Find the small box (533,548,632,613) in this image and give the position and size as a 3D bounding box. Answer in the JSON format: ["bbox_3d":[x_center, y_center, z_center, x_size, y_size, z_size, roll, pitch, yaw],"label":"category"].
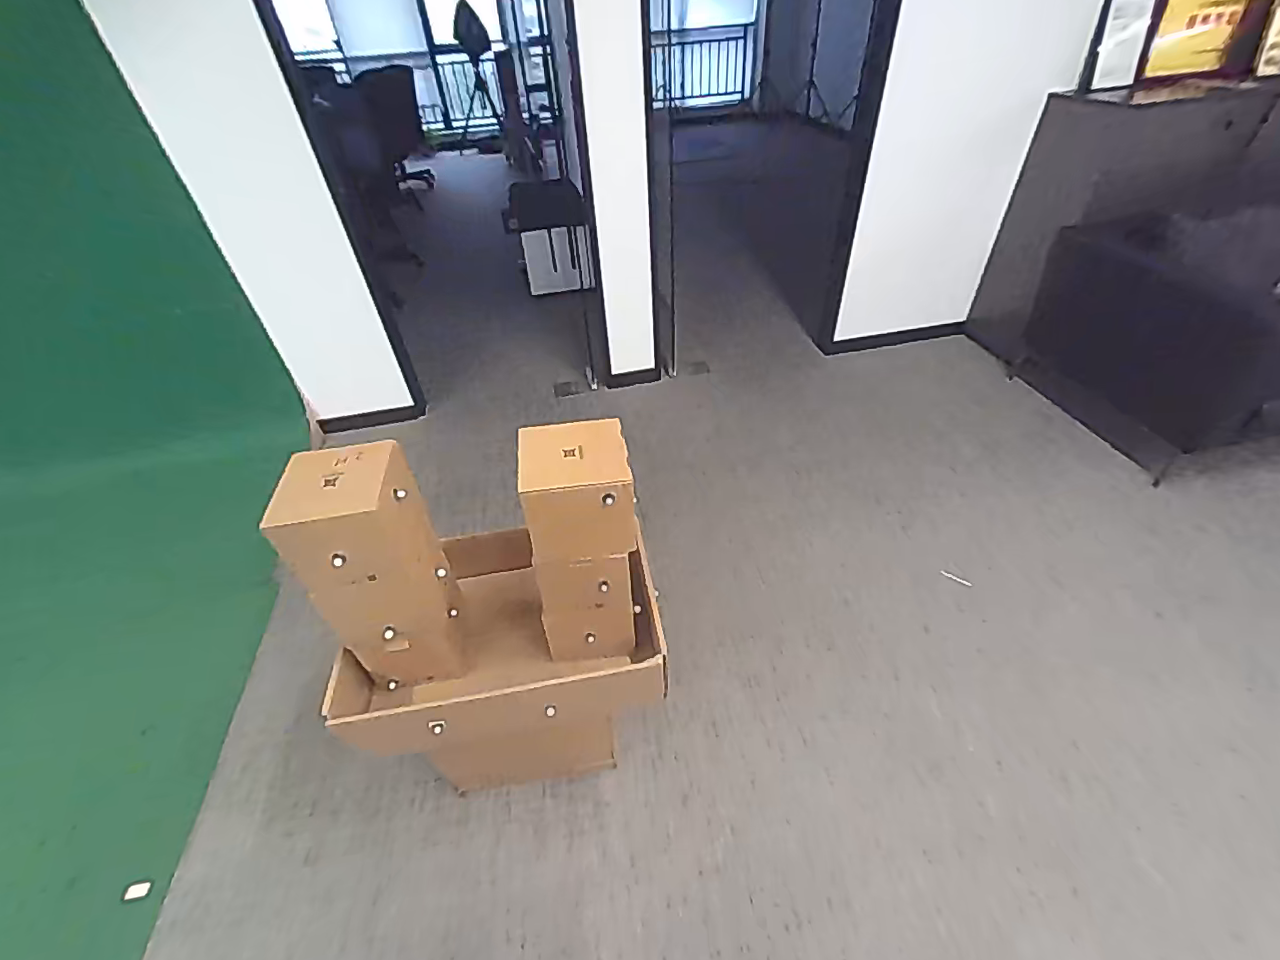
[{"bbox_3d":[-0.104,0.141,1.037,0.168,0.176,0.179,-4,41,-2],"label":"small box"}]

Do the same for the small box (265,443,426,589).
[{"bbox_3d":[-0.472,0.065,0.903,0.168,0.176,0.179,-9,42,-5],"label":"small box"}]

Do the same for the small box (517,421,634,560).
[{"bbox_3d":[-0.108,0.020,0.927,0.179,0.176,0.168,-7,42,-6],"label":"small box"}]

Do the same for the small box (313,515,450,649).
[{"bbox_3d":[-0.466,0.191,1.010,0.179,0.176,0.168,-10,42,-6],"label":"small box"}]
